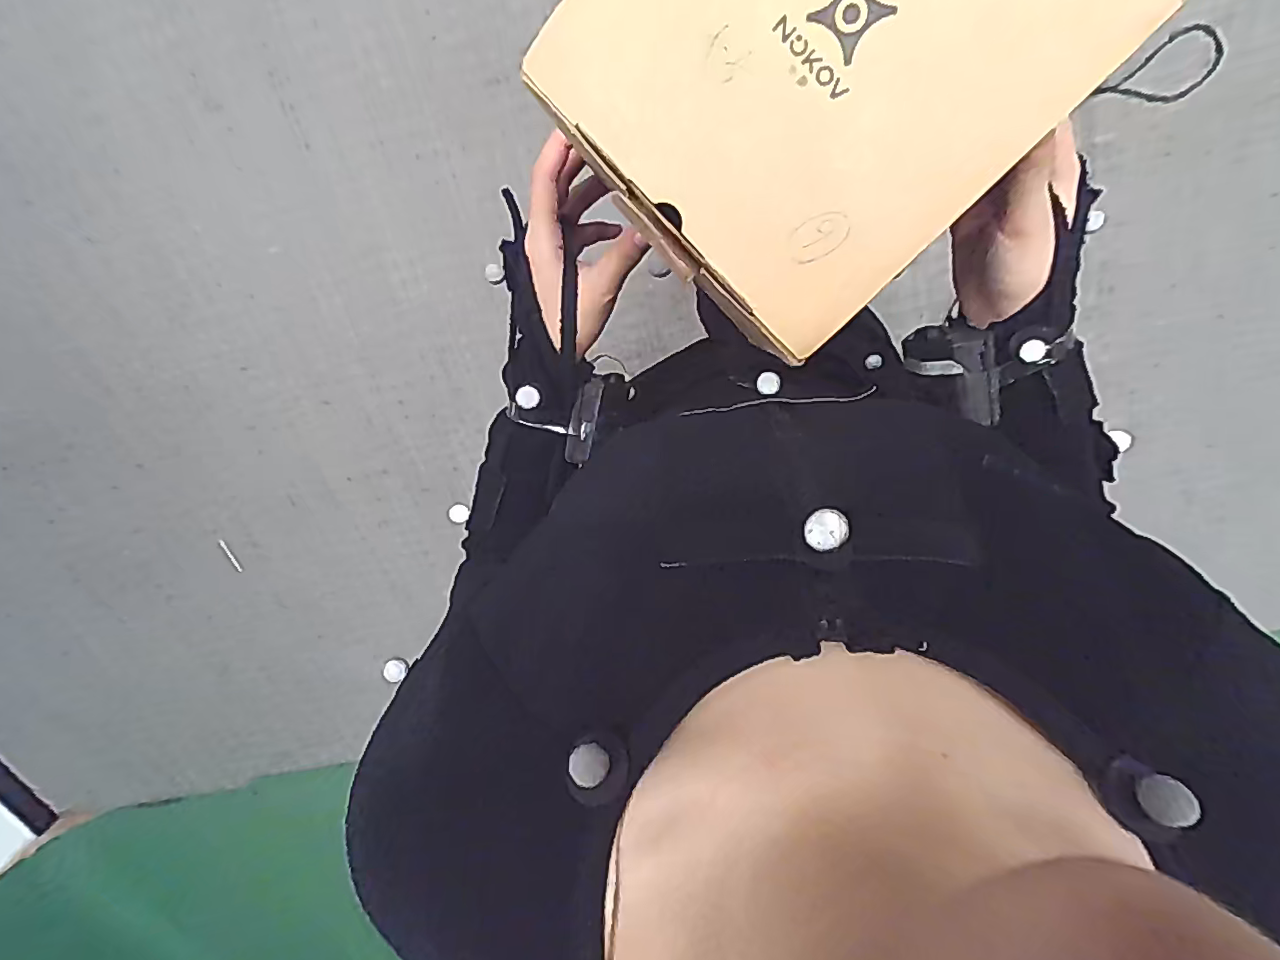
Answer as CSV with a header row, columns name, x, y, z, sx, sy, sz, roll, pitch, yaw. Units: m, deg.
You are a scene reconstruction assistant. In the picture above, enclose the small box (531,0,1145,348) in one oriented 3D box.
name,x,y,z,sx,sy,sz,roll,pitch,yaw
small box,0.078,-0.193,0.287,0.168,0.176,0.179,44,107,-8
